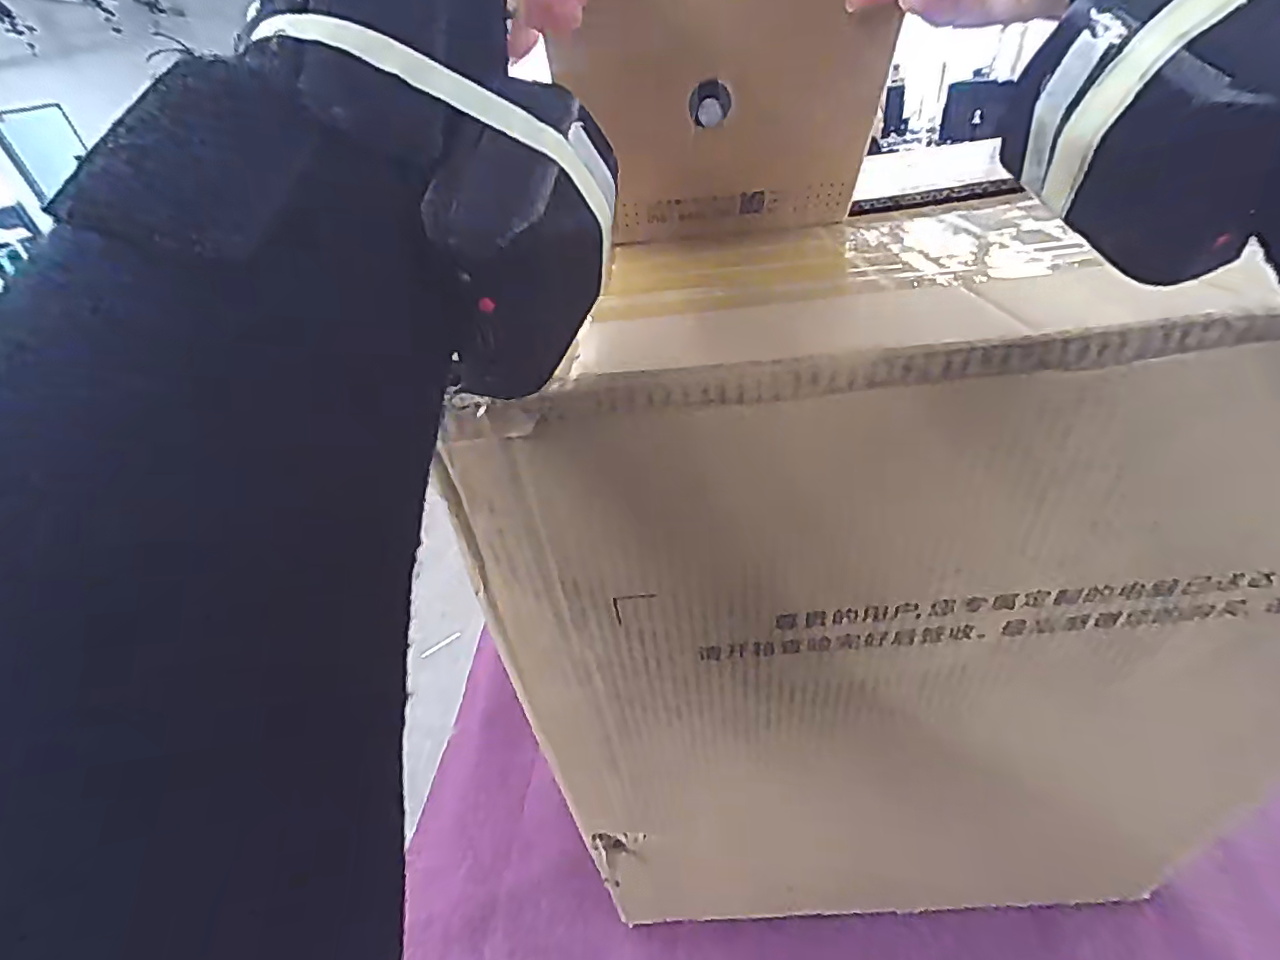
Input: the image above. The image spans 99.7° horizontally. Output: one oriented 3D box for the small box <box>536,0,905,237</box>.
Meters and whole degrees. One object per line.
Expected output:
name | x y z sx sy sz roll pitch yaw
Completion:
small box | 0.040 -0.260 0.307 0.168 0.176 0.179 -3 63 3
